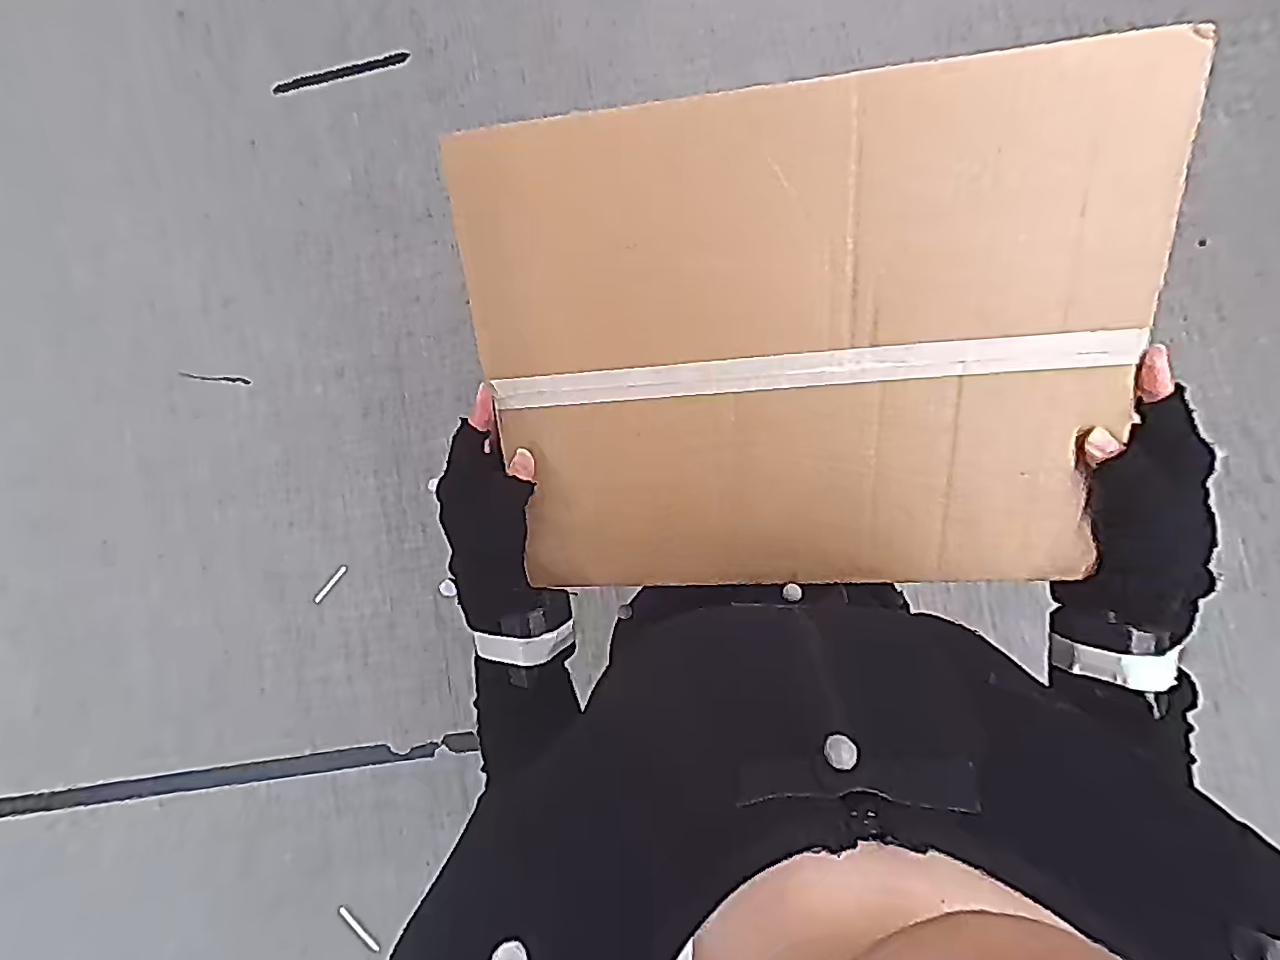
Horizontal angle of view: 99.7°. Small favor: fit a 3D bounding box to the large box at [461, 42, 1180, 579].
[{"bbox_3d":[0.113,-0.124,0.494,0.408,0.320,0.320,-2,111,8],"label":"large box"}]
